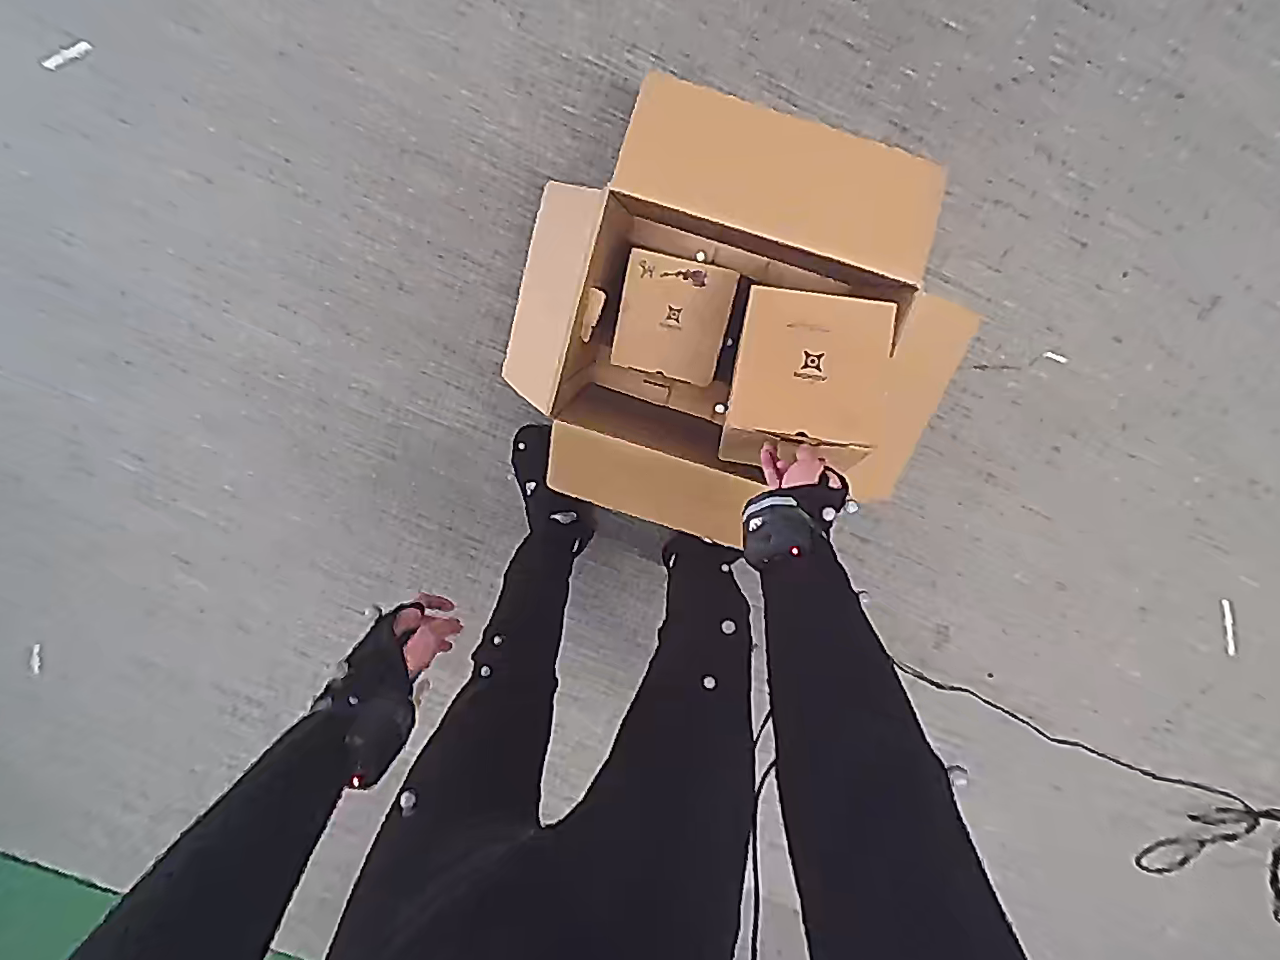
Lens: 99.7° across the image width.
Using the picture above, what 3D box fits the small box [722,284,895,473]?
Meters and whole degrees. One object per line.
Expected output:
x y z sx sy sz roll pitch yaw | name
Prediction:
0.201 -0.117 0.689 0.168 0.176 0.179 11 79 6 | small box
